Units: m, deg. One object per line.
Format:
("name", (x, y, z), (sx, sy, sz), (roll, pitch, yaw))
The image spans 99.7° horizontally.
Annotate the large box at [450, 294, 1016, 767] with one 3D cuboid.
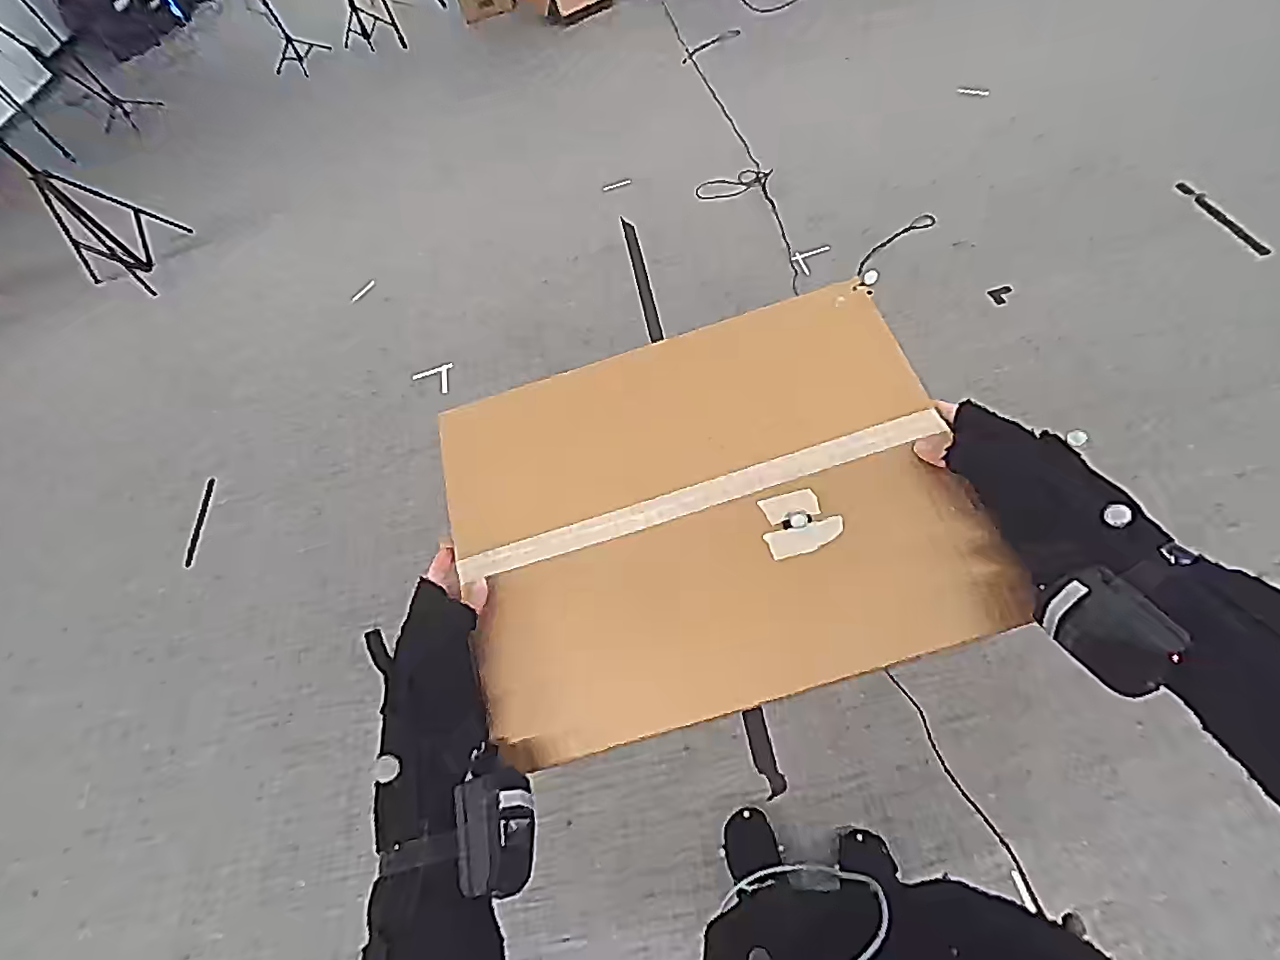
("large box", (0.066, 0.074, 0.589), (0.408, 0.320, 0.320), (-18, 67, 1))
